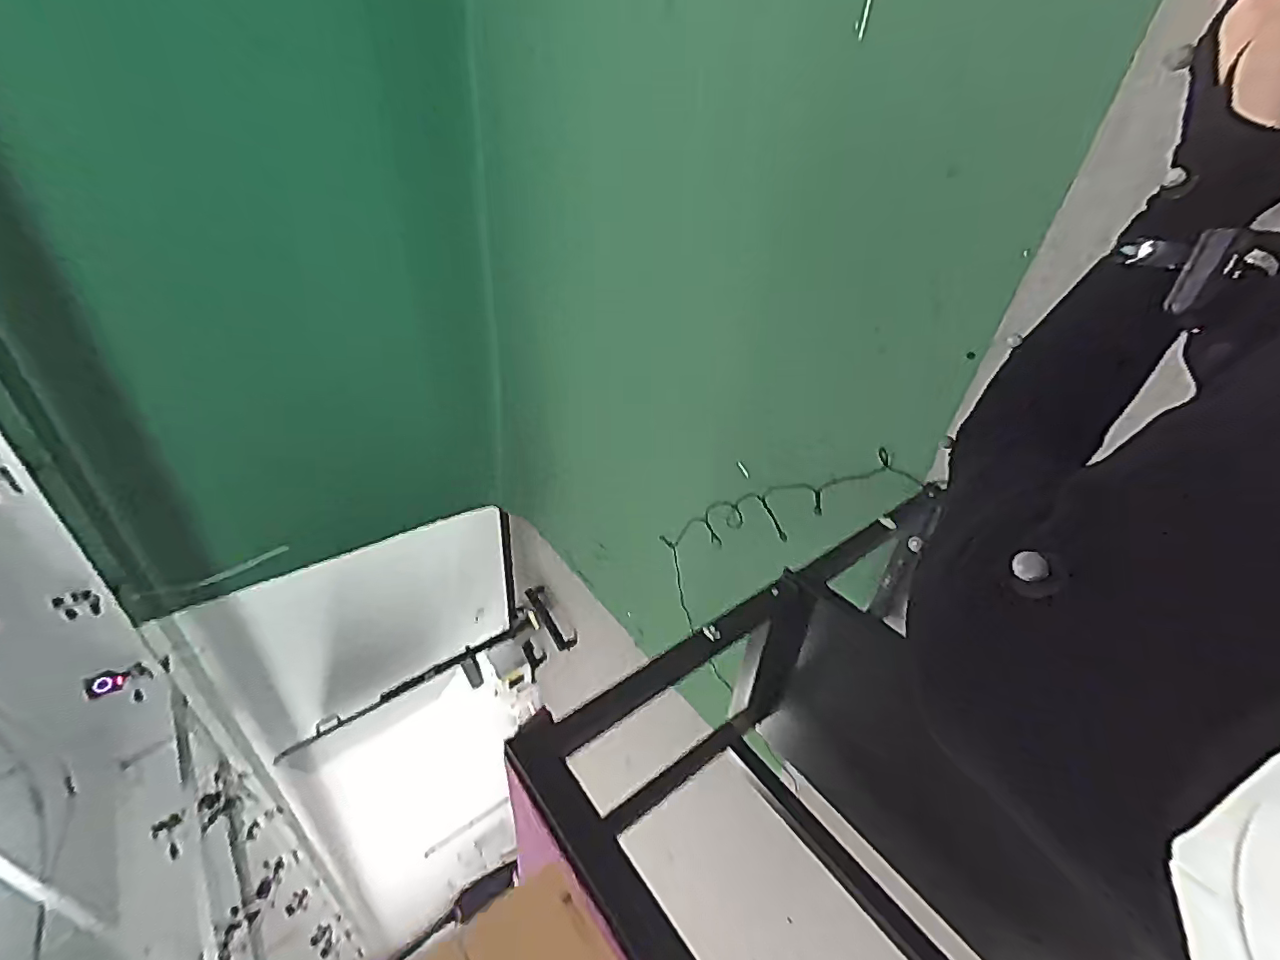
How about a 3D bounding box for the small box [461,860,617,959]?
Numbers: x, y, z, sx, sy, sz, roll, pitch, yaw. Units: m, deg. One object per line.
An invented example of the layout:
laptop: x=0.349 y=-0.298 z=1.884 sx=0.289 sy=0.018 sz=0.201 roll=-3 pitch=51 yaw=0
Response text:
small box: x=-0.146 y=0.720 z=0.804 sx=0.168 sy=0.176 sz=0.179 roll=40 pitch=138 yaw=35
